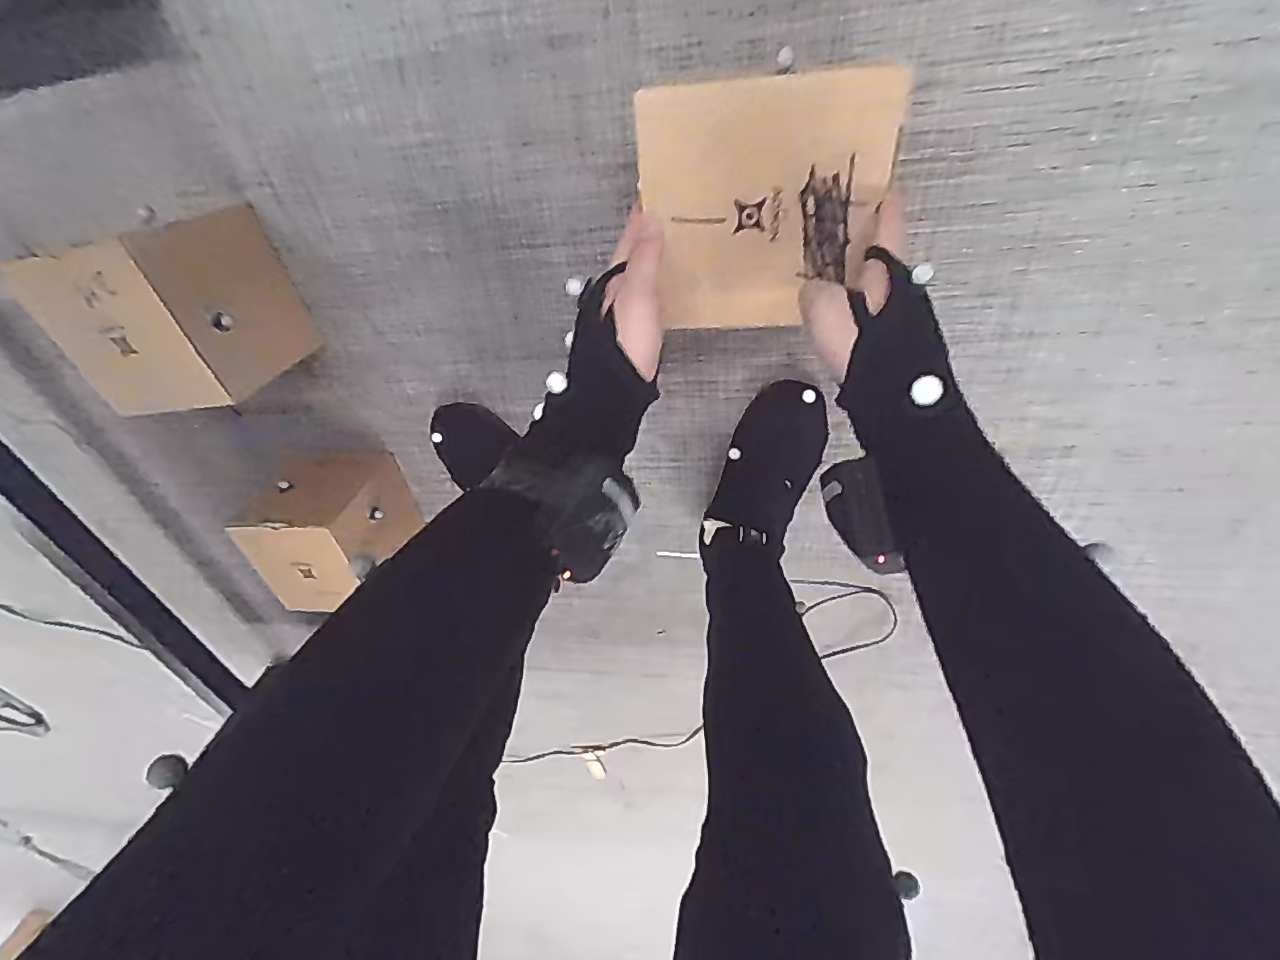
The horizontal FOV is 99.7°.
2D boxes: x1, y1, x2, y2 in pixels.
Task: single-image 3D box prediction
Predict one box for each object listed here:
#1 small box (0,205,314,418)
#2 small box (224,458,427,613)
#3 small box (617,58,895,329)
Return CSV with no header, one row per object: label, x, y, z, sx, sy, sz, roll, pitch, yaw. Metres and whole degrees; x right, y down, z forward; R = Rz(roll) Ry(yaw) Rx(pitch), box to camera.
small box,-0.525,-0.193,0.620,0.168,0.176,0.179,-4,126,13
small box,-0.456,0.078,0.818,0.168,0.176,0.179,-1,128,11
small box,0.086,-0.238,0.448,0.179,0.176,0.168,1,128,9
